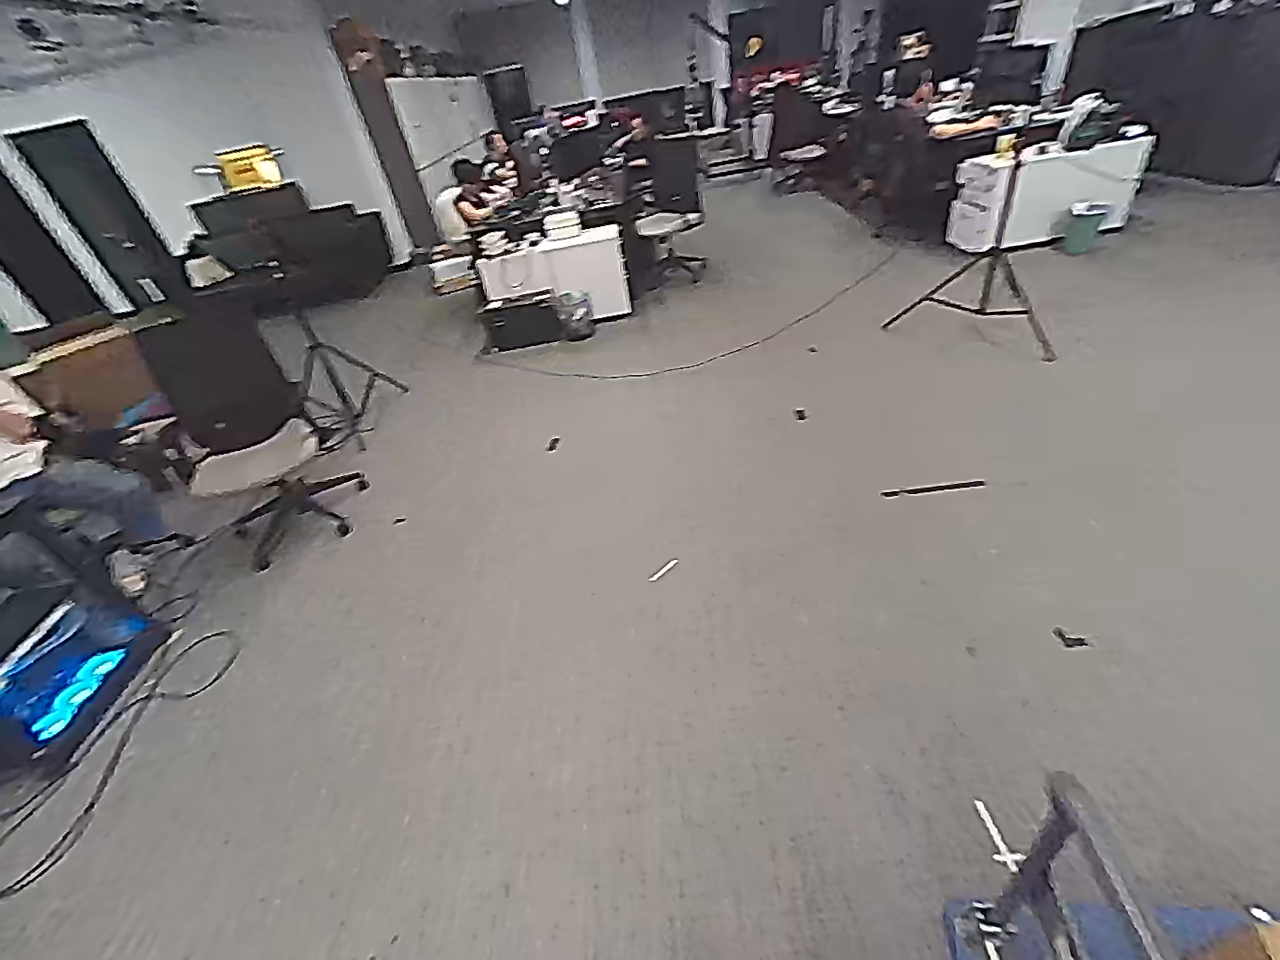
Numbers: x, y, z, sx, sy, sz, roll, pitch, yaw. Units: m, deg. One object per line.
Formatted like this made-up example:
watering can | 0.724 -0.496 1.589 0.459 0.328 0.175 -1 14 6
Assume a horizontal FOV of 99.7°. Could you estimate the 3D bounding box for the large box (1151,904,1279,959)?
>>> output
large box | 0.985 0.828 0.673 0.320 0.320 0.408 -4 36 9
